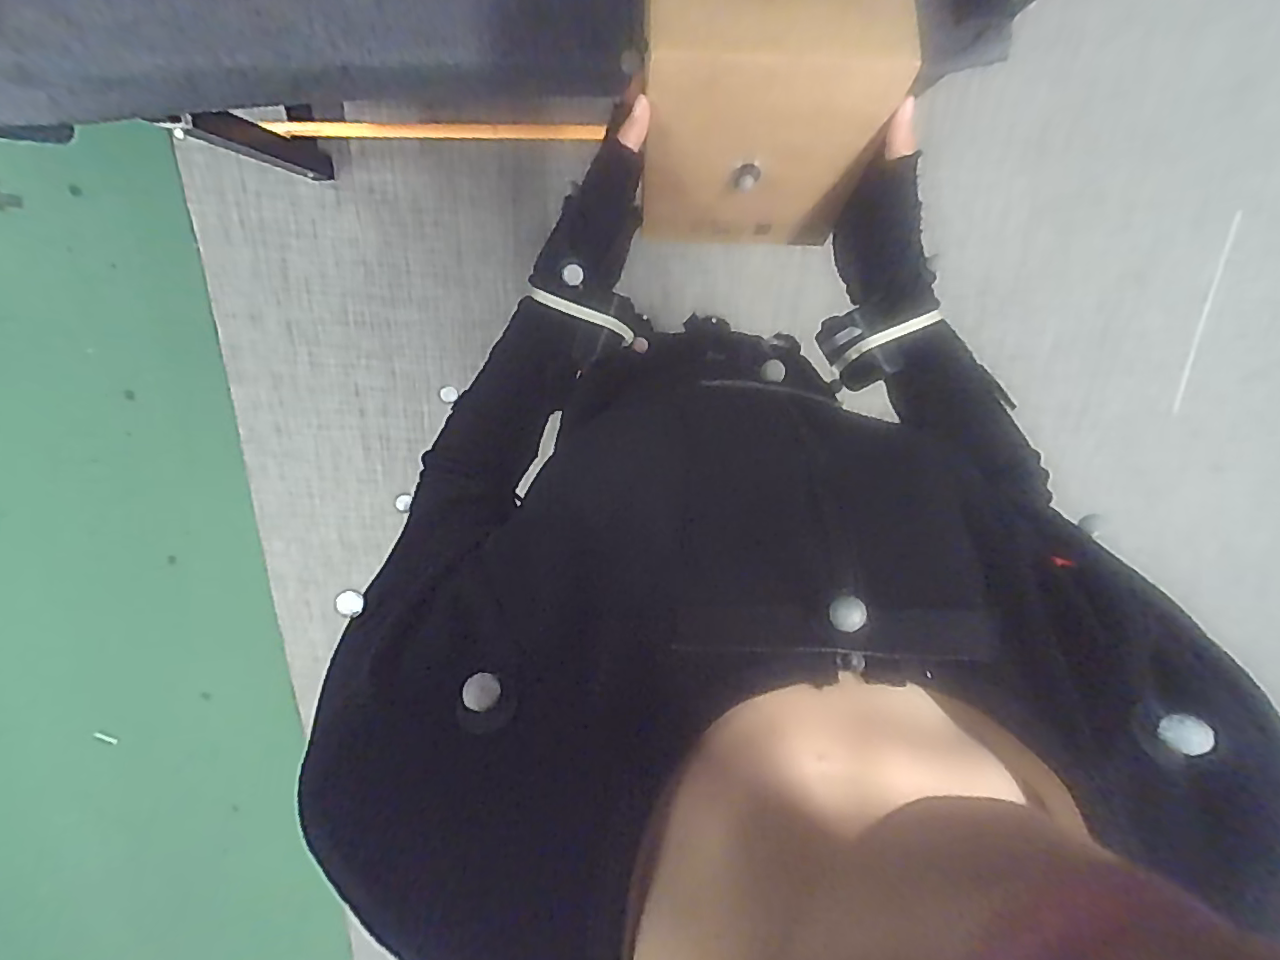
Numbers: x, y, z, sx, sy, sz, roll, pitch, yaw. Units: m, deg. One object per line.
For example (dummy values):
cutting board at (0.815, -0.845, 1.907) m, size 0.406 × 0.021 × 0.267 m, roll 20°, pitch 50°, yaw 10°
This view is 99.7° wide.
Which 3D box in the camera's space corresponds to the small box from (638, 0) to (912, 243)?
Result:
small box at (0.085, -0.312, 0.423) m, size 0.168 × 0.176 × 0.179 m, roll 2°, pitch 75°, yaw -2°
